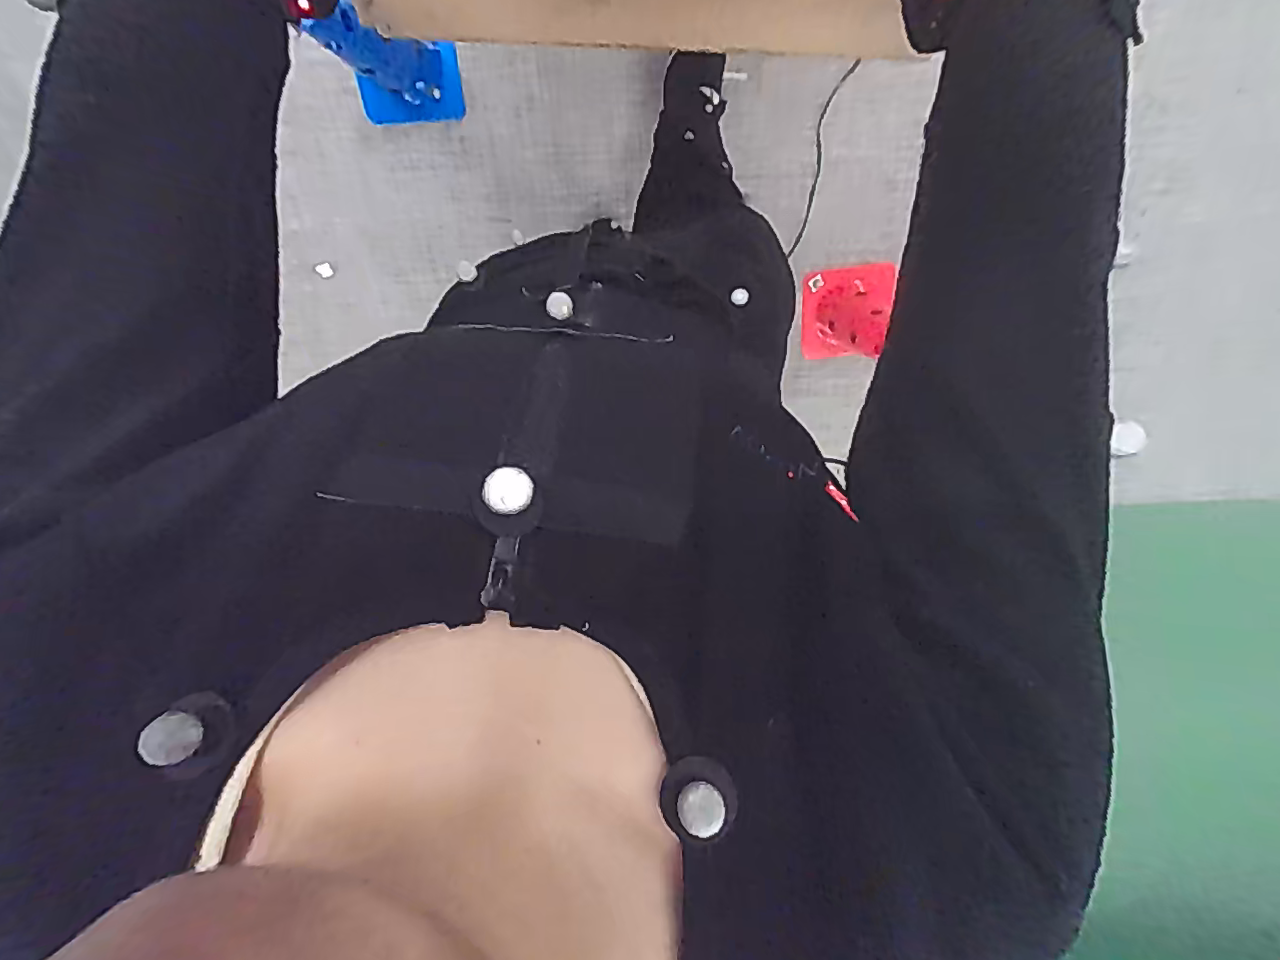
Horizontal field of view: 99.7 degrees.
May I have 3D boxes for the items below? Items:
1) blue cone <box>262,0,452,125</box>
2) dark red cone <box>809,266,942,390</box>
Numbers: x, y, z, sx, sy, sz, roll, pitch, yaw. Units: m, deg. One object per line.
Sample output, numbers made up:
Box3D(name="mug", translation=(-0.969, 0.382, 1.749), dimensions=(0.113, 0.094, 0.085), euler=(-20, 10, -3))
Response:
Box3D(name="blue cone", translation=(-0.459, -0.702, 0.867), dimensions=(0.192, 0.380, 0.193), euler=(0, 119, 2))
Box3D(name="dark red cone", translation=(0.468, -0.265, 1.040), dimensions=(0.202, 0.394, 0.201), euler=(-8, 121, 6))
